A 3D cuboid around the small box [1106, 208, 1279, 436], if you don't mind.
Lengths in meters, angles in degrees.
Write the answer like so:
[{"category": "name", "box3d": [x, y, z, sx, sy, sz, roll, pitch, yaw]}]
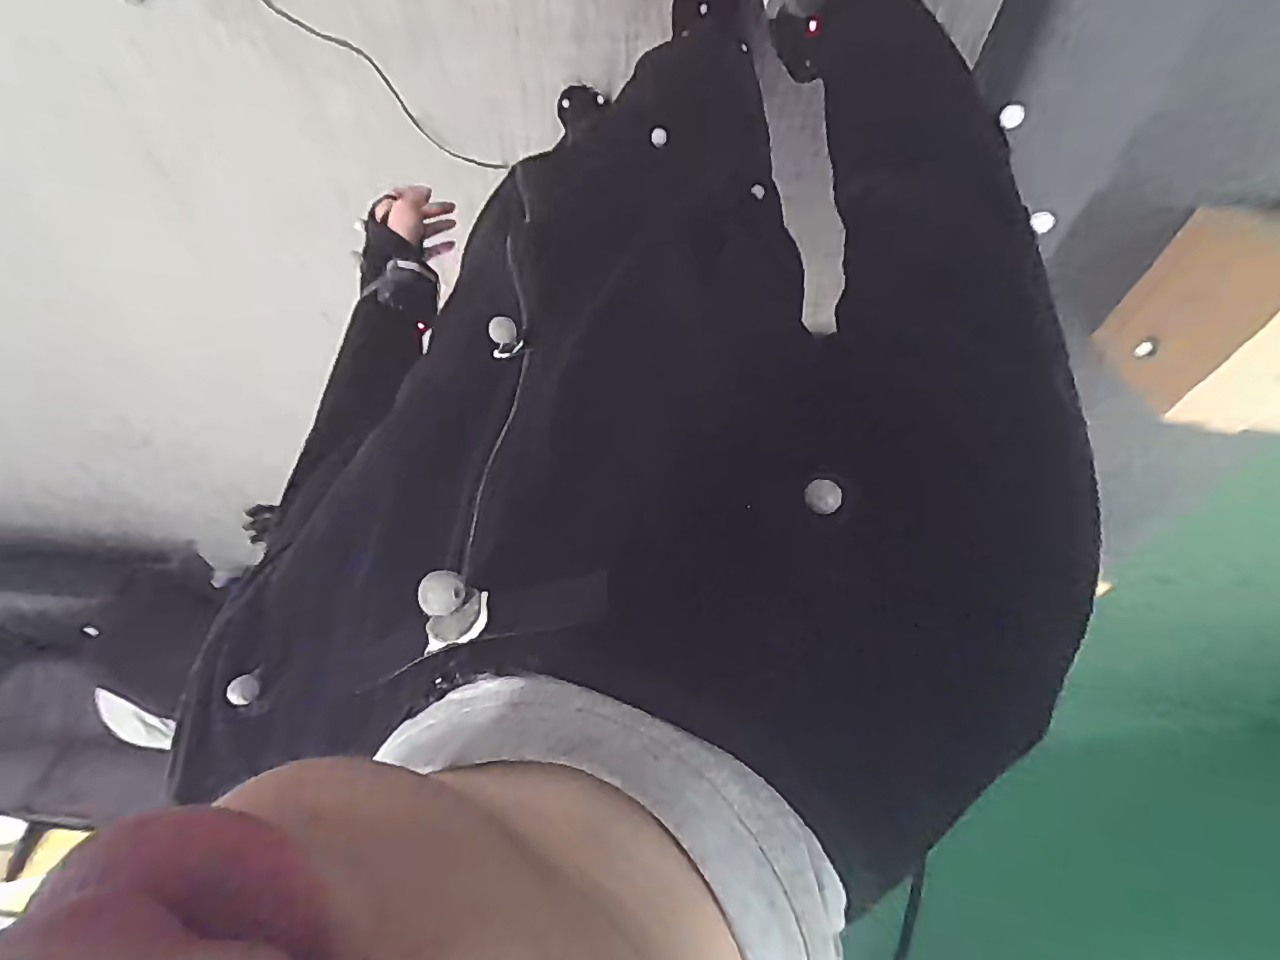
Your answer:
[{"category": "small box", "box3d": [0.680, -0.173, 0.604, 0.168, 0.176, 0.179, 6, 138, -1]}]
